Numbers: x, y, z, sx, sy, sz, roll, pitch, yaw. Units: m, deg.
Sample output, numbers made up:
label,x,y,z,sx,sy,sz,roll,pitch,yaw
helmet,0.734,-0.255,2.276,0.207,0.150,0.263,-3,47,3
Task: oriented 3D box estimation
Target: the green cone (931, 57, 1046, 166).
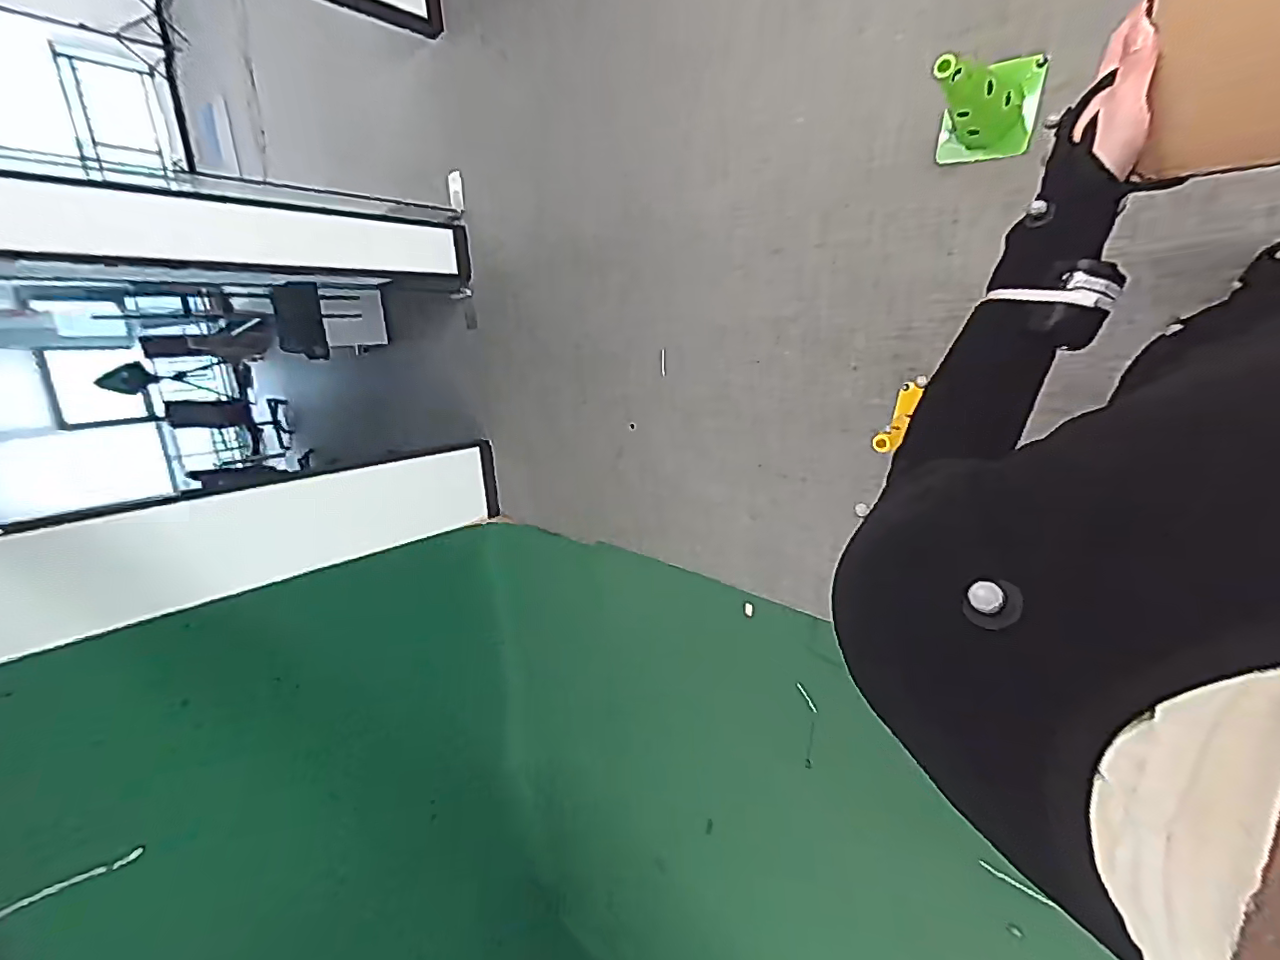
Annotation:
label,x,y,z,sx,sy,sz,roll,pitch,yaw
green cone,0.713,-0.836,1.181,0.200,0.368,0.202,19,117,41
